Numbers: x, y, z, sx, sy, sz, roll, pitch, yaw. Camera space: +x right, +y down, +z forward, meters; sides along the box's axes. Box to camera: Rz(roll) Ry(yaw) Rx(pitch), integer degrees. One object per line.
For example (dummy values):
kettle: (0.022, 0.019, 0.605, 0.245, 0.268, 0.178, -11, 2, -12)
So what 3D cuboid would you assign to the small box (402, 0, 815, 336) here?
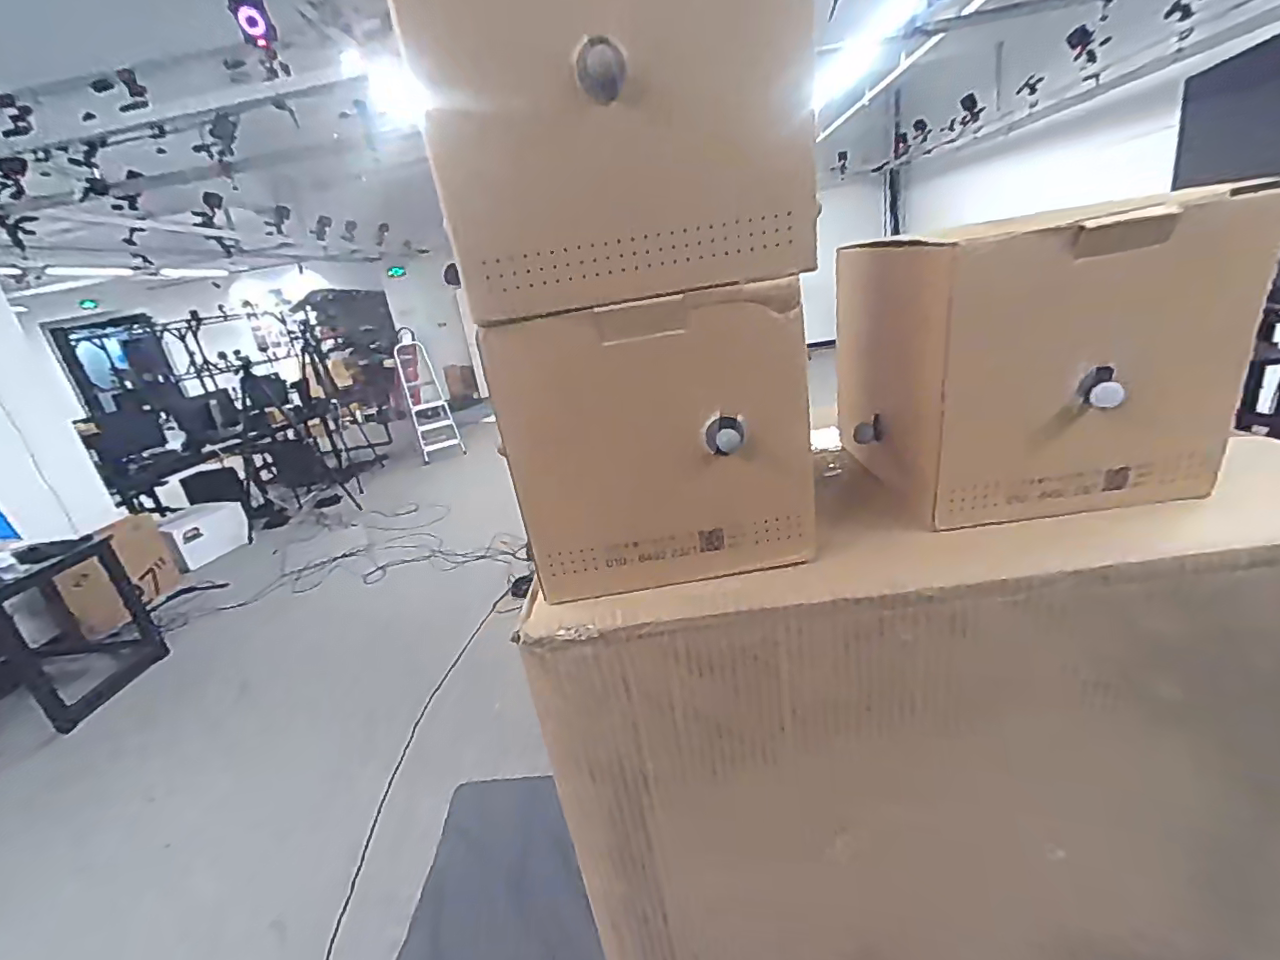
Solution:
small box: (-0.016, -0.186, 0.310, 0.179, 0.176, 0.168, -10, 23, -7)

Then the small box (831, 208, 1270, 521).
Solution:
small box: (0.244, -0.079, 0.378, 0.168, 0.176, 0.179, -7, 23, 3)

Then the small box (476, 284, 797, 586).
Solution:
small box: (0.004, -0.038, 0.378, 0.168, 0.176, 0.179, -8, 21, 0)
